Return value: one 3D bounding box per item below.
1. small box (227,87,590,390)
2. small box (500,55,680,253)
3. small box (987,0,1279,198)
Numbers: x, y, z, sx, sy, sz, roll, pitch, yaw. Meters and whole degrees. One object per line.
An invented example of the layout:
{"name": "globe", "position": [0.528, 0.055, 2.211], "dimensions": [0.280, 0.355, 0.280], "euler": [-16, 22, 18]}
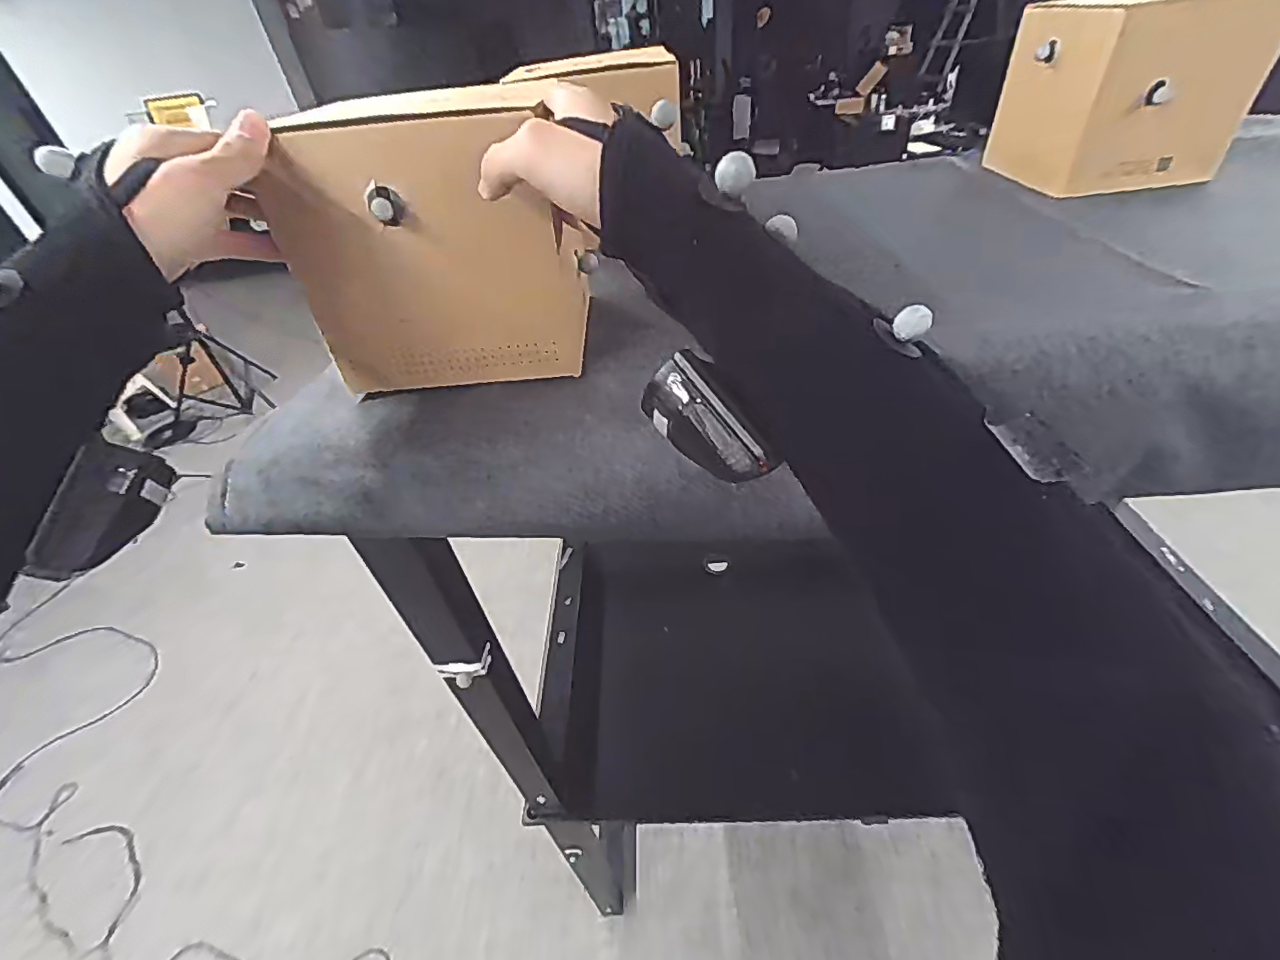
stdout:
{"name": "small box", "position": [-0.139, -0.179, 0.406], "dimensions": [0.179, 0.176, 0.168], "euler": [-4, 40, 1]}
{"name": "small box", "position": [-0.045, -0.375, 0.629], "dimensions": [0.179, 0.176, 0.168], "euler": [-5, 41, 2]}
{"name": "small box", "position": [0.529, -0.425, 0.600], "dimensions": [0.168, 0.176, 0.179], "euler": [-5, 41, 4]}
